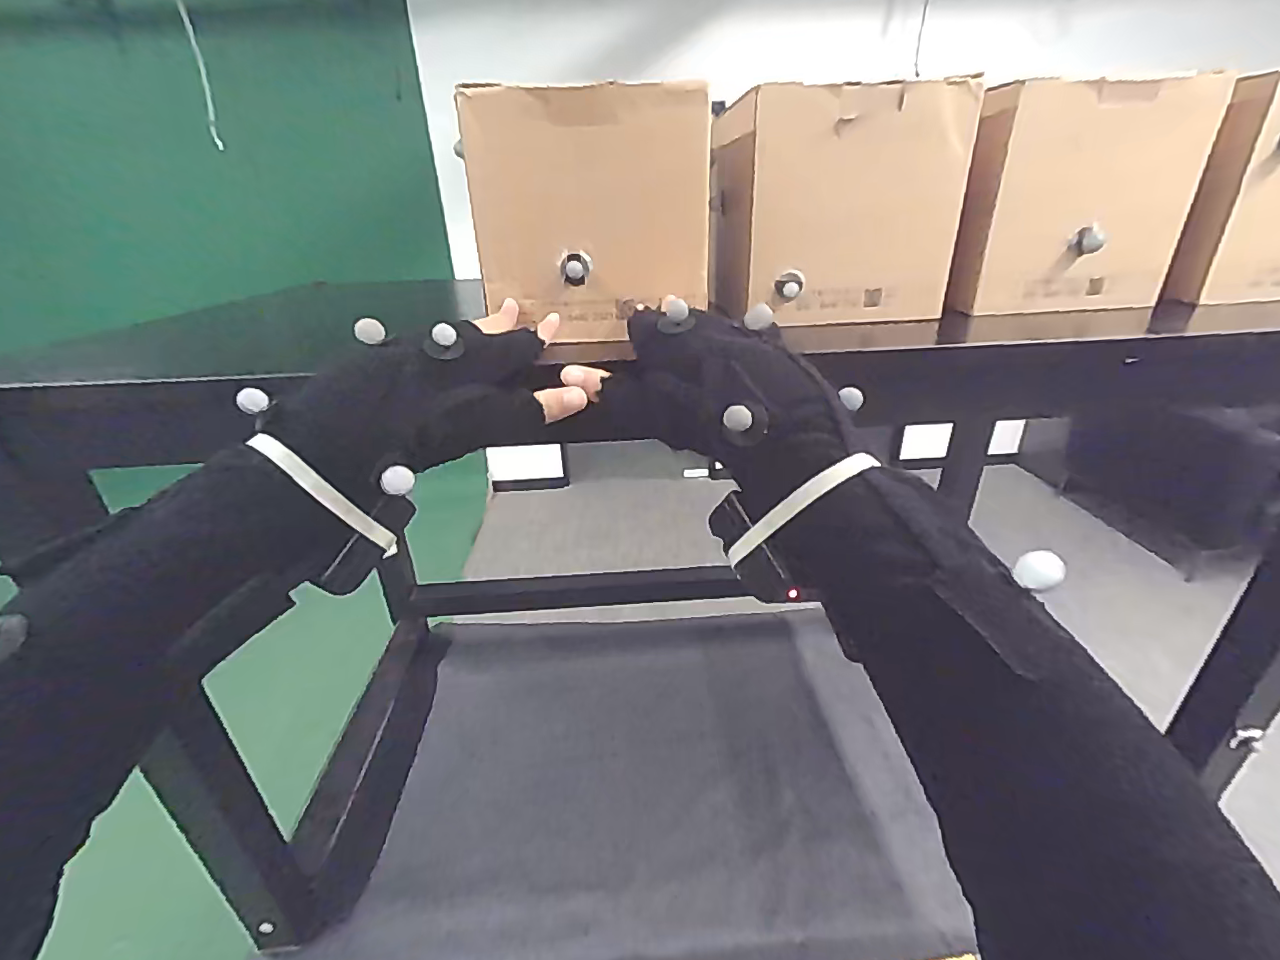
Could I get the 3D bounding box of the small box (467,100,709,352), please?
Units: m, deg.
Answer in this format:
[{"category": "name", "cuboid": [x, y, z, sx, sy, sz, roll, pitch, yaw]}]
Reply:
[{"category": "small box", "cuboid": [-0.037, -0.212, 0.469, 0.168, 0.176, 0.179, -3, 26, -2]}]
